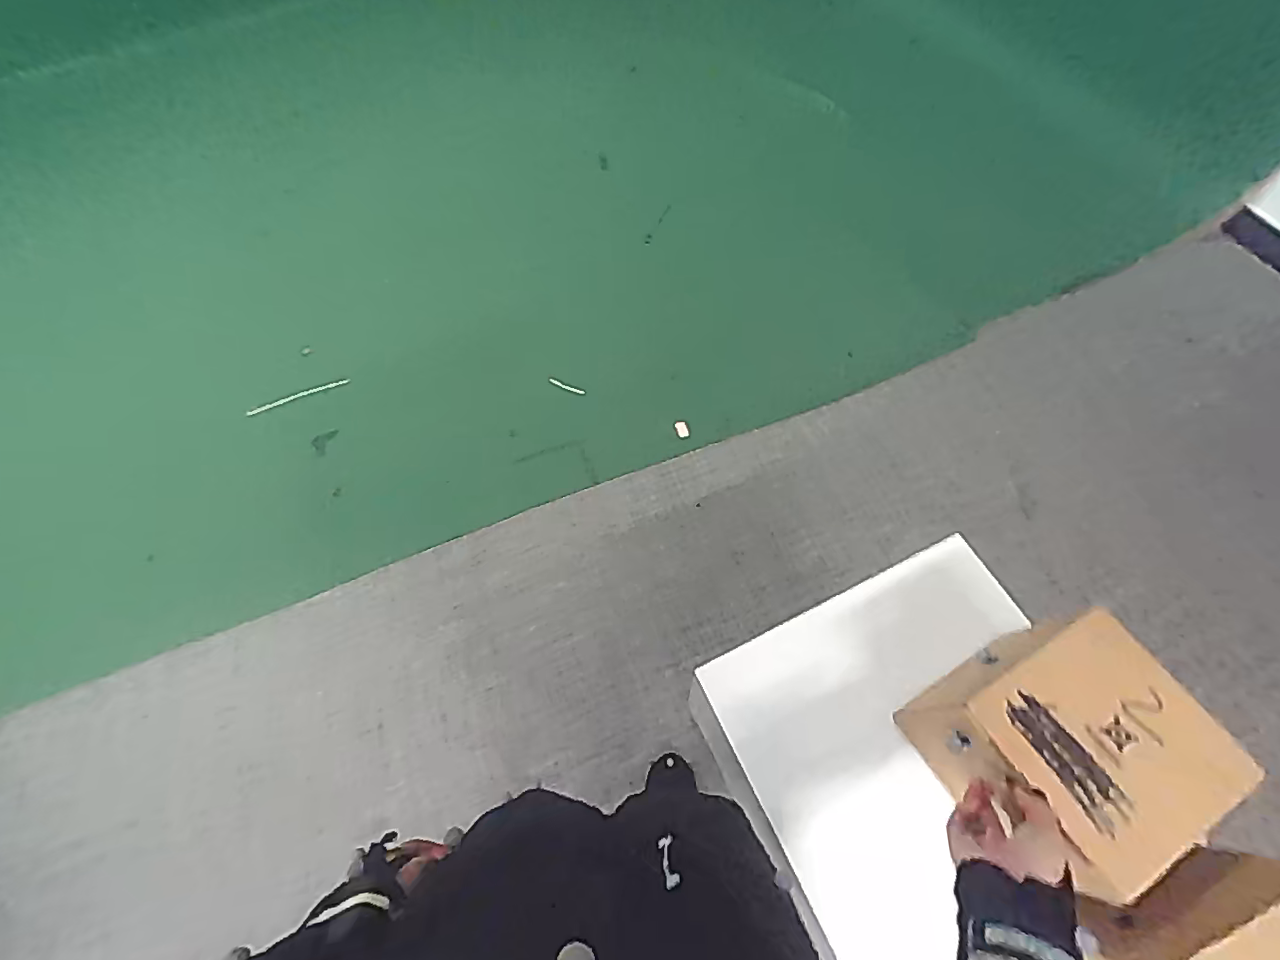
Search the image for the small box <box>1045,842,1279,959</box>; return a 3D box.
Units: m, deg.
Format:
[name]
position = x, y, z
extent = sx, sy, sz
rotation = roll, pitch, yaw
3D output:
[small box]
position = 0.483, 0.433, 0.441
extent = 0.179, 0.176, 0.168
rotation = -24, 66, -9
